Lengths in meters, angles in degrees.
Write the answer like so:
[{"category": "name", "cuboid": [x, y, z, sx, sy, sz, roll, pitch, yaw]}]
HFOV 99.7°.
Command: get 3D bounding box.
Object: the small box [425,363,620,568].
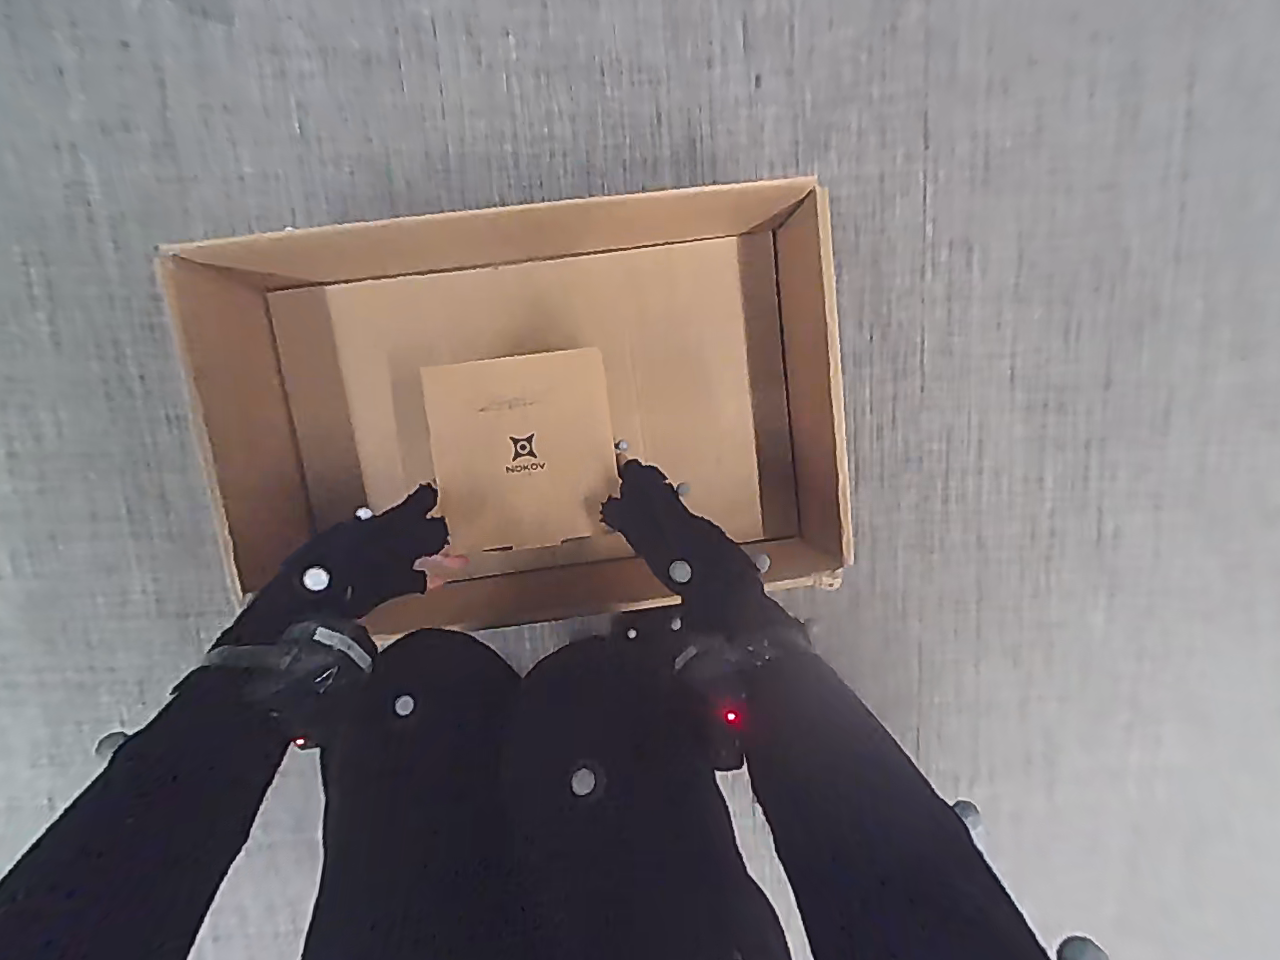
[{"category": "small box", "cuboid": [-0.110, -0.014, 0.577, 0.168, 0.176, 0.179, -7, 89, -3]}]
